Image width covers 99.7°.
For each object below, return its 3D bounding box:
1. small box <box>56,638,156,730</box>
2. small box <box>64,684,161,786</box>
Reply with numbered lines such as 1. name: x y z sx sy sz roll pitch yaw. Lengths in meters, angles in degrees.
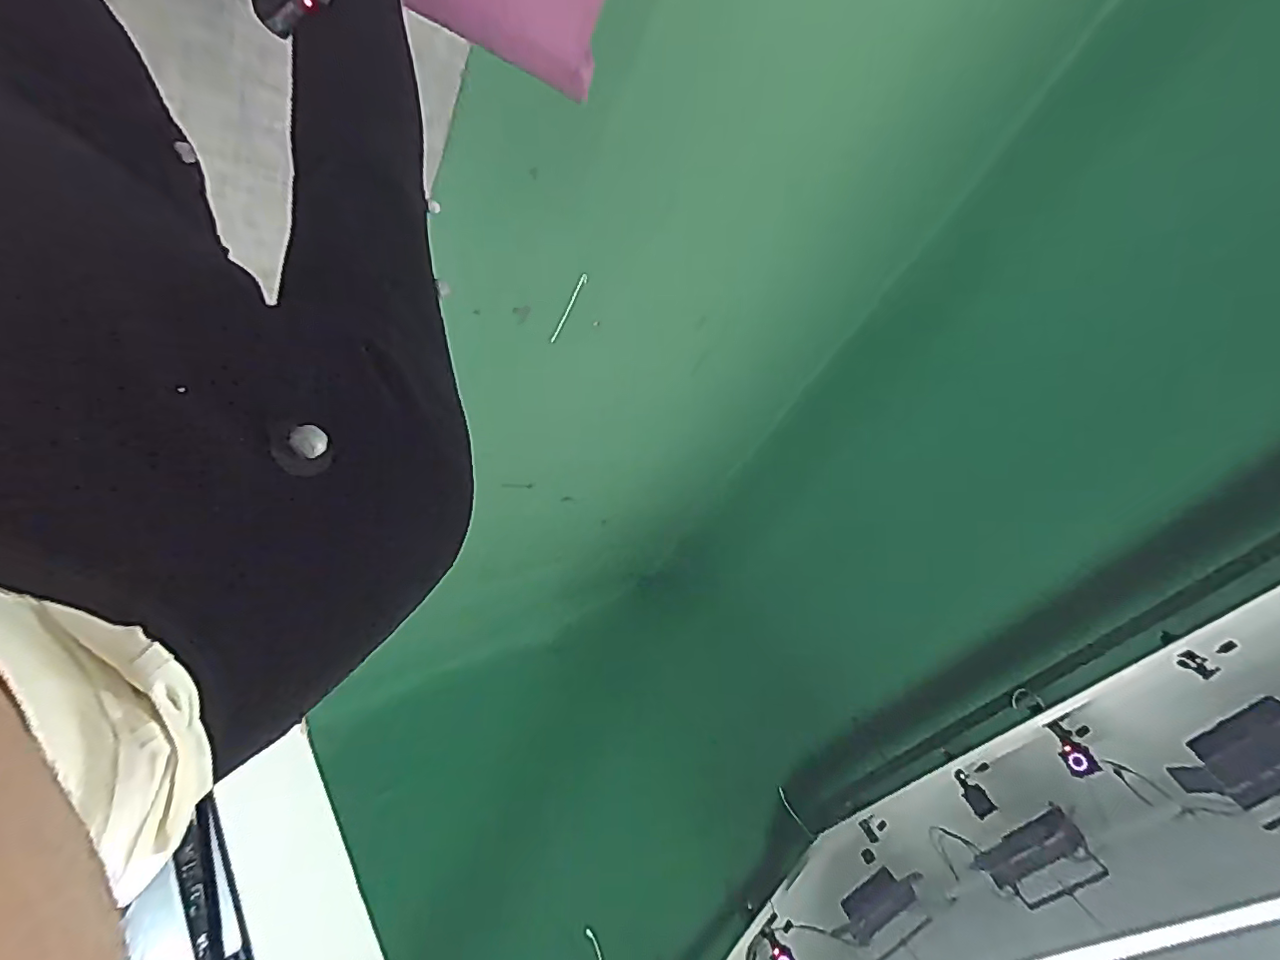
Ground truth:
1. small box: -1.559 0.587 1.577 0.179 0.176 0.168 1 135 -53
2. small box: -1.468 0.700 1.501 0.168 0.176 0.179 2 133 -54
